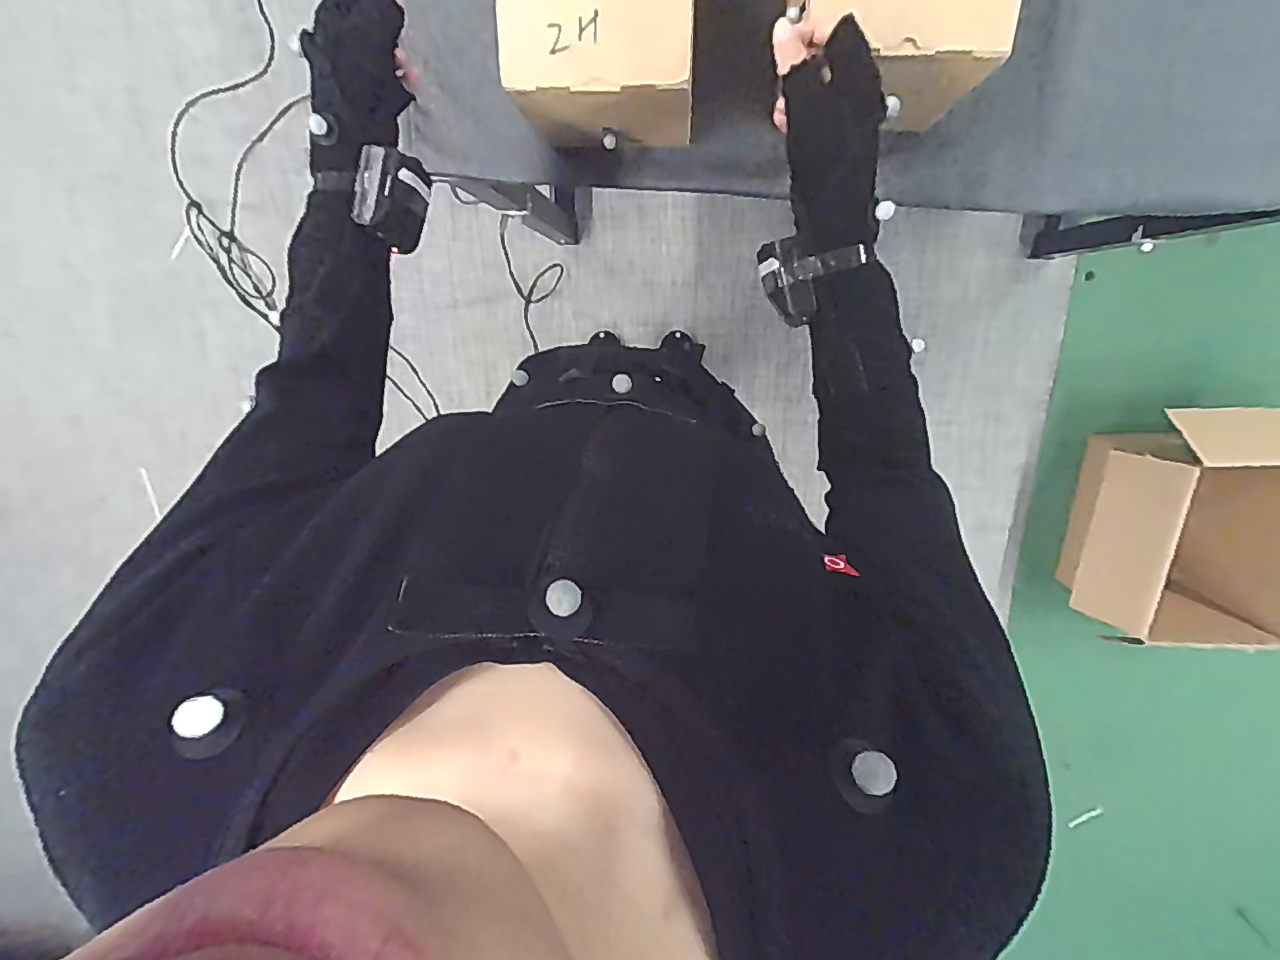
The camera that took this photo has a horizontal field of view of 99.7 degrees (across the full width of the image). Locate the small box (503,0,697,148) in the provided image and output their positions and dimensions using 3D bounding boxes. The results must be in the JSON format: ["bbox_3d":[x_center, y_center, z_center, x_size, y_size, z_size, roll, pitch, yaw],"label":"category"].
[{"bbox_3d":[-0.029,-0.446,0.521,0.168,0.176,0.179,2,107,4],"label":"small box"}]
